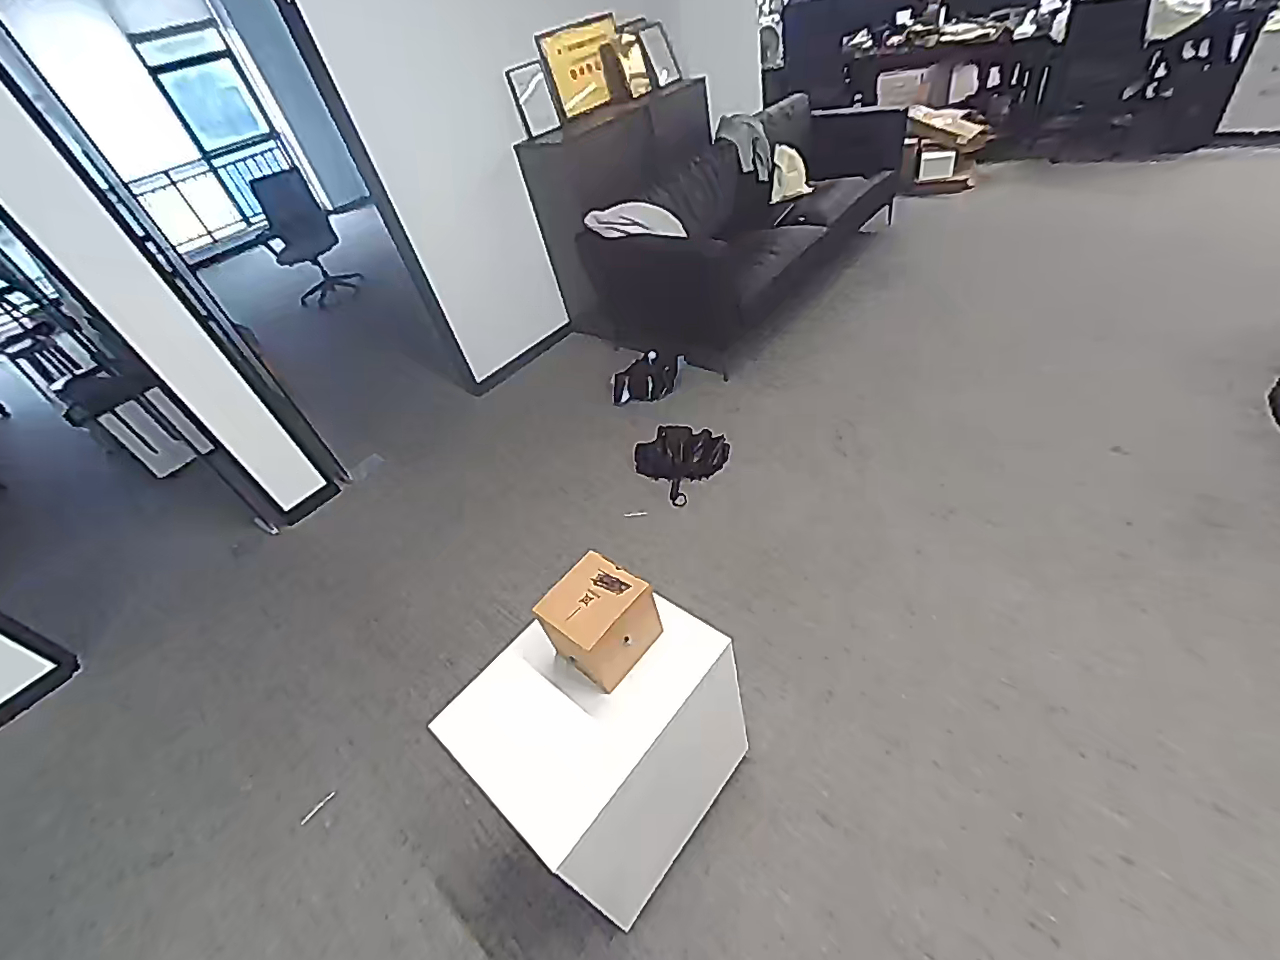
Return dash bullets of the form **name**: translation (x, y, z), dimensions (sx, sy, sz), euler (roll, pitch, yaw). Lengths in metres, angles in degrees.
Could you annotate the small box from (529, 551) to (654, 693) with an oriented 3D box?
- **small box**: translation (-0.087, 0.282, 1.080), dimensions (0.168, 0.176, 0.179), euler (25, 54, 35)
